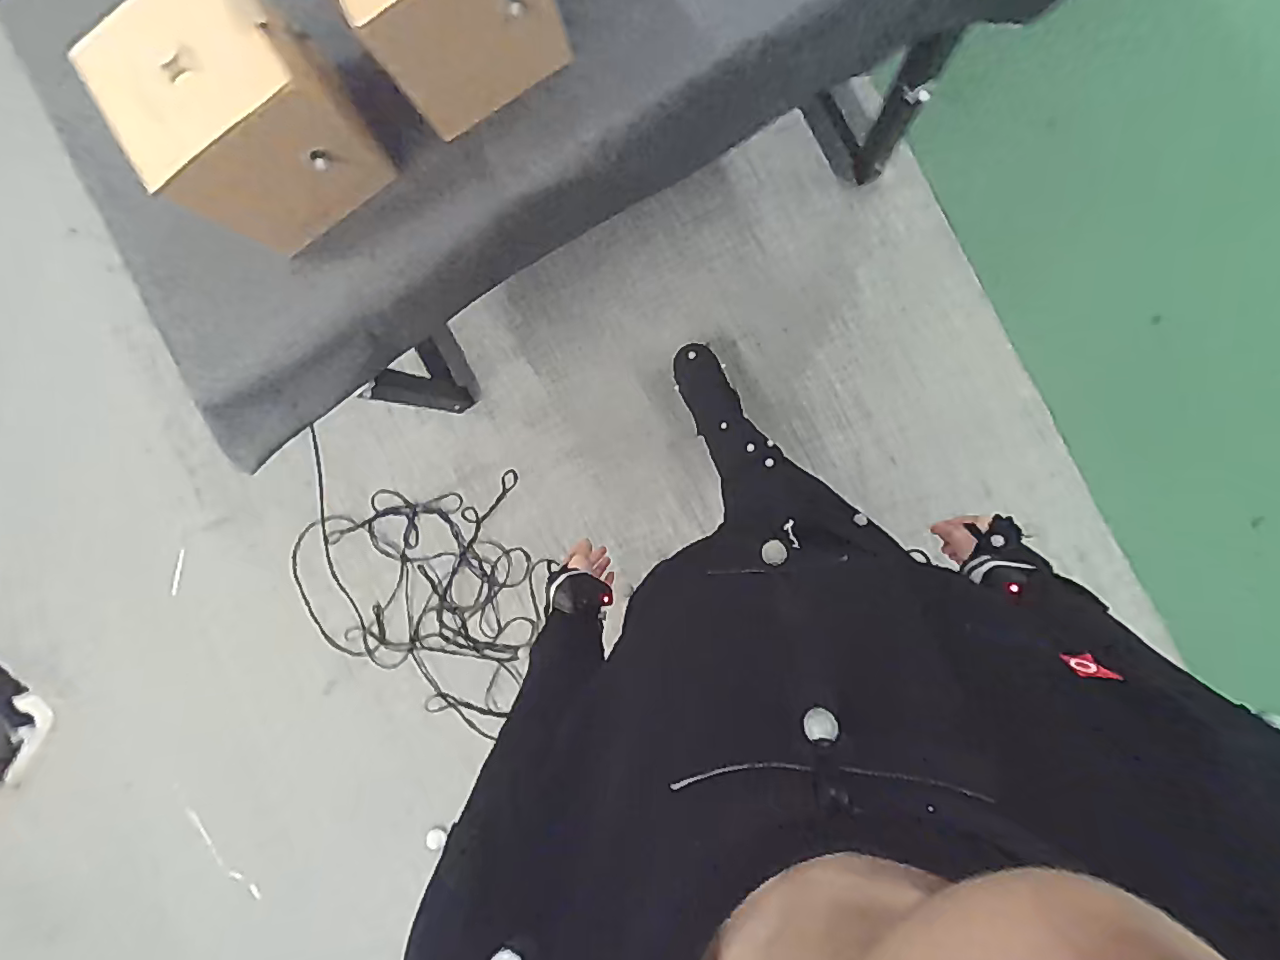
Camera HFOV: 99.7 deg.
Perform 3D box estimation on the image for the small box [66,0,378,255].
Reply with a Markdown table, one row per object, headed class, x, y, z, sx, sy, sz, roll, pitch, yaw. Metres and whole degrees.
| class | x | y | z | sx | sy | sz | roll | pitch | yaw |
| --- | --- | --- | --- | --- | --- | --- | --- | --- | --- |
| small box | -0.413 | -0.378 | 0.571 | 0.179 | 0.176 | 0.168 | -33 | 87 | 8 |
